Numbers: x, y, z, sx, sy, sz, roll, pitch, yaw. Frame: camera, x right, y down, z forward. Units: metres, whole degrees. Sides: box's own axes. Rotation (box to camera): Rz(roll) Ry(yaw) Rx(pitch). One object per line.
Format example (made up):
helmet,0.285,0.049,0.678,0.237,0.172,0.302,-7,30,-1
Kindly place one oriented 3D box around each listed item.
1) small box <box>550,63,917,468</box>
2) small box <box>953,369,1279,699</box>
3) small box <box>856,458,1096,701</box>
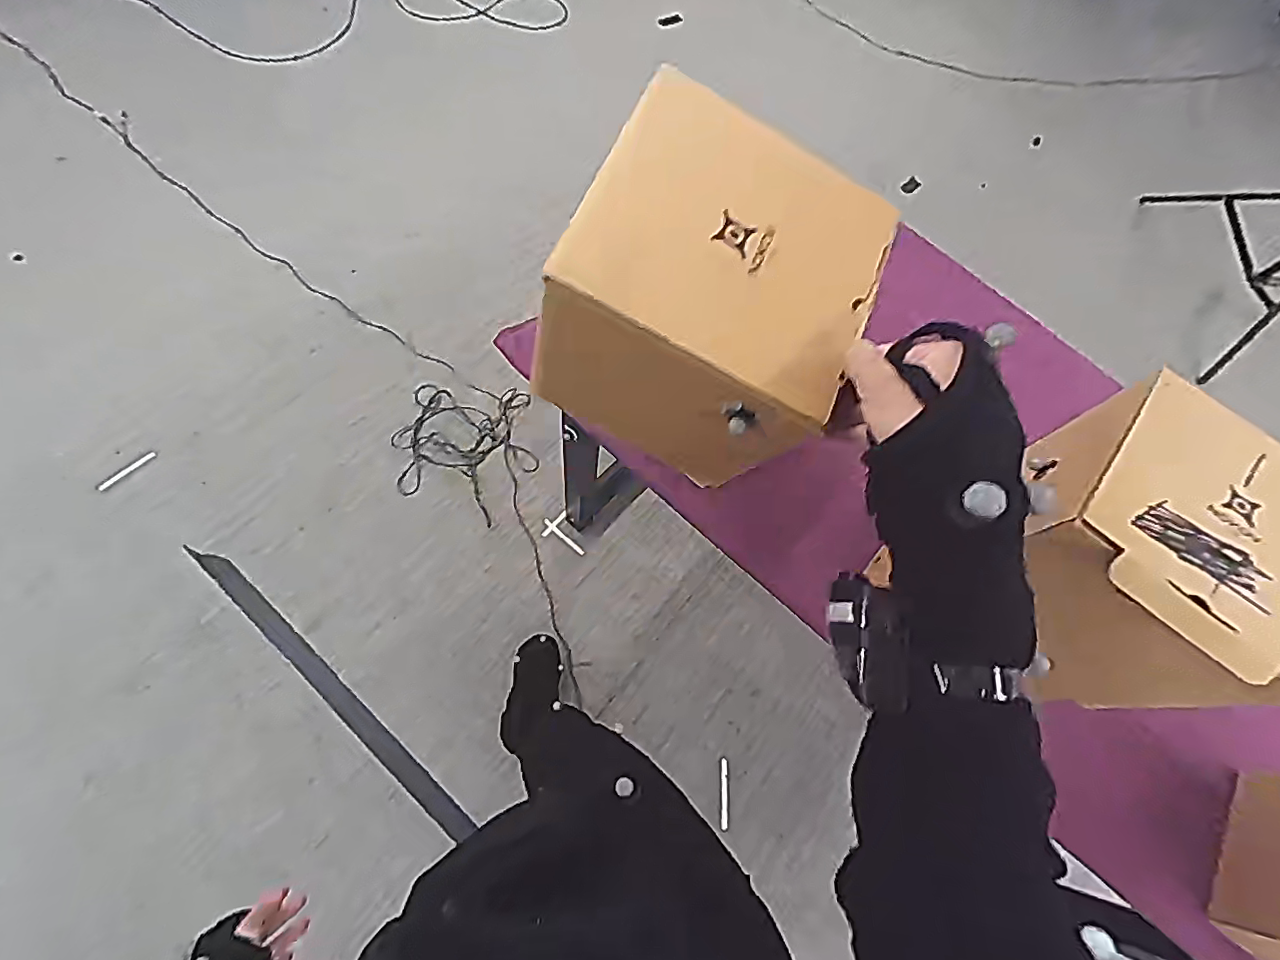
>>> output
small box,0.049,-0.125,0.385,0.179,0.176,0.168,27,73,-7
small box,0.395,0.054,0.434,0.168,0.176,0.179,41,68,11
small box,0.378,0.113,0.588,0.179,0.176,0.168,41,69,10
